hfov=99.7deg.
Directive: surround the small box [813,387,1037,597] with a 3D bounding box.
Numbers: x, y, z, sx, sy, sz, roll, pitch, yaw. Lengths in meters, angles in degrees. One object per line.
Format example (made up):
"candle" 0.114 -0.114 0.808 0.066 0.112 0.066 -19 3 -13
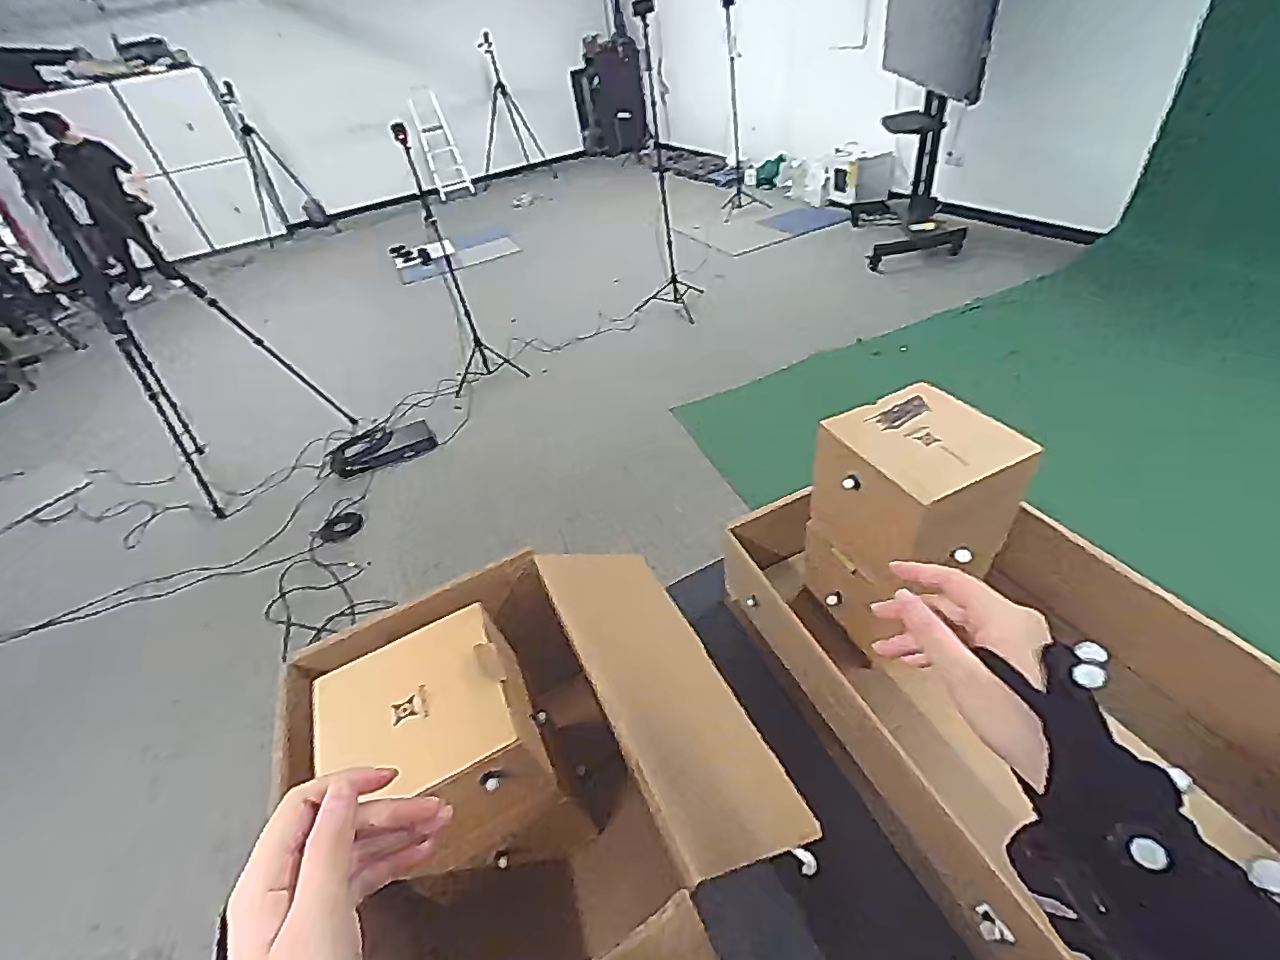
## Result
"small box" 0.339 0.013 0.687 0.168 0.176 0.179 -22 43 -12
